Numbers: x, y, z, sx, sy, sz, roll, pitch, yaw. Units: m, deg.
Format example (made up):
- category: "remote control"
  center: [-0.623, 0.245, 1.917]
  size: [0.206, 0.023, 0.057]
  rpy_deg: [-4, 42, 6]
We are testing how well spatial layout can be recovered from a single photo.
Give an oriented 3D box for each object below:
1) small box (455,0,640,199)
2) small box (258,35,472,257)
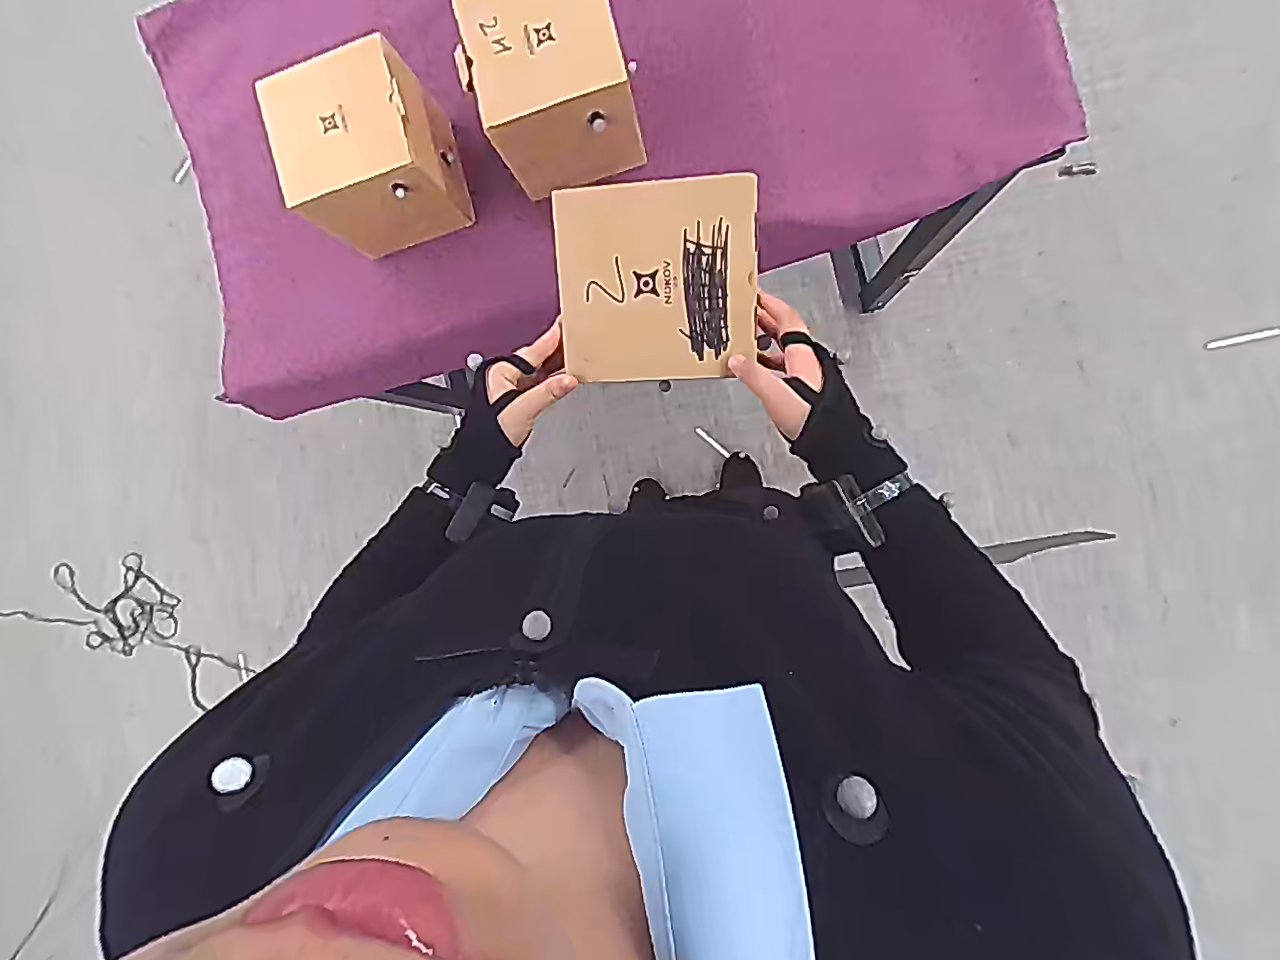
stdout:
- category: "small box"
  center: [-0.103, -0.498, 0.691]
  size: [0.179, 0.176, 0.168]
  rpy_deg: [-14, 88, 8]
- category: "small box"
  center: [-0.358, -0.429, 0.730]
  size: [0.179, 0.176, 0.168]
  rpy_deg: [-16, 89, 7]
